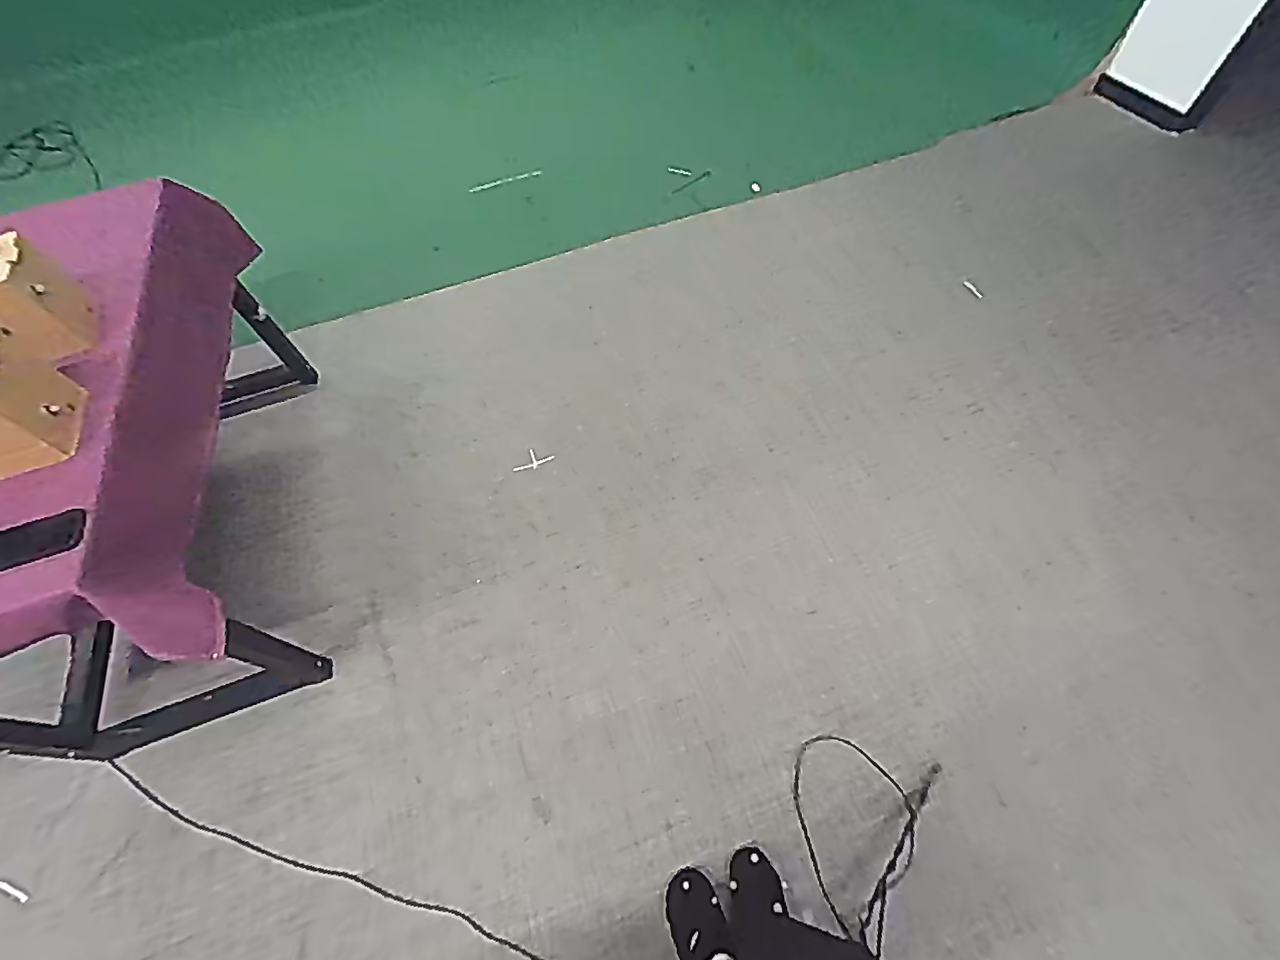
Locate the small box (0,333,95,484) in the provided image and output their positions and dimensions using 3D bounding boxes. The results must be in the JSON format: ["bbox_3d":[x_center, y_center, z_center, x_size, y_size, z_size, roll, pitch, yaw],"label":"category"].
[{"bbox_3d":[-1.100,-0.110,0.913,0.179,0.176,0.168,-20,59,-8],"label":"small box"}]
